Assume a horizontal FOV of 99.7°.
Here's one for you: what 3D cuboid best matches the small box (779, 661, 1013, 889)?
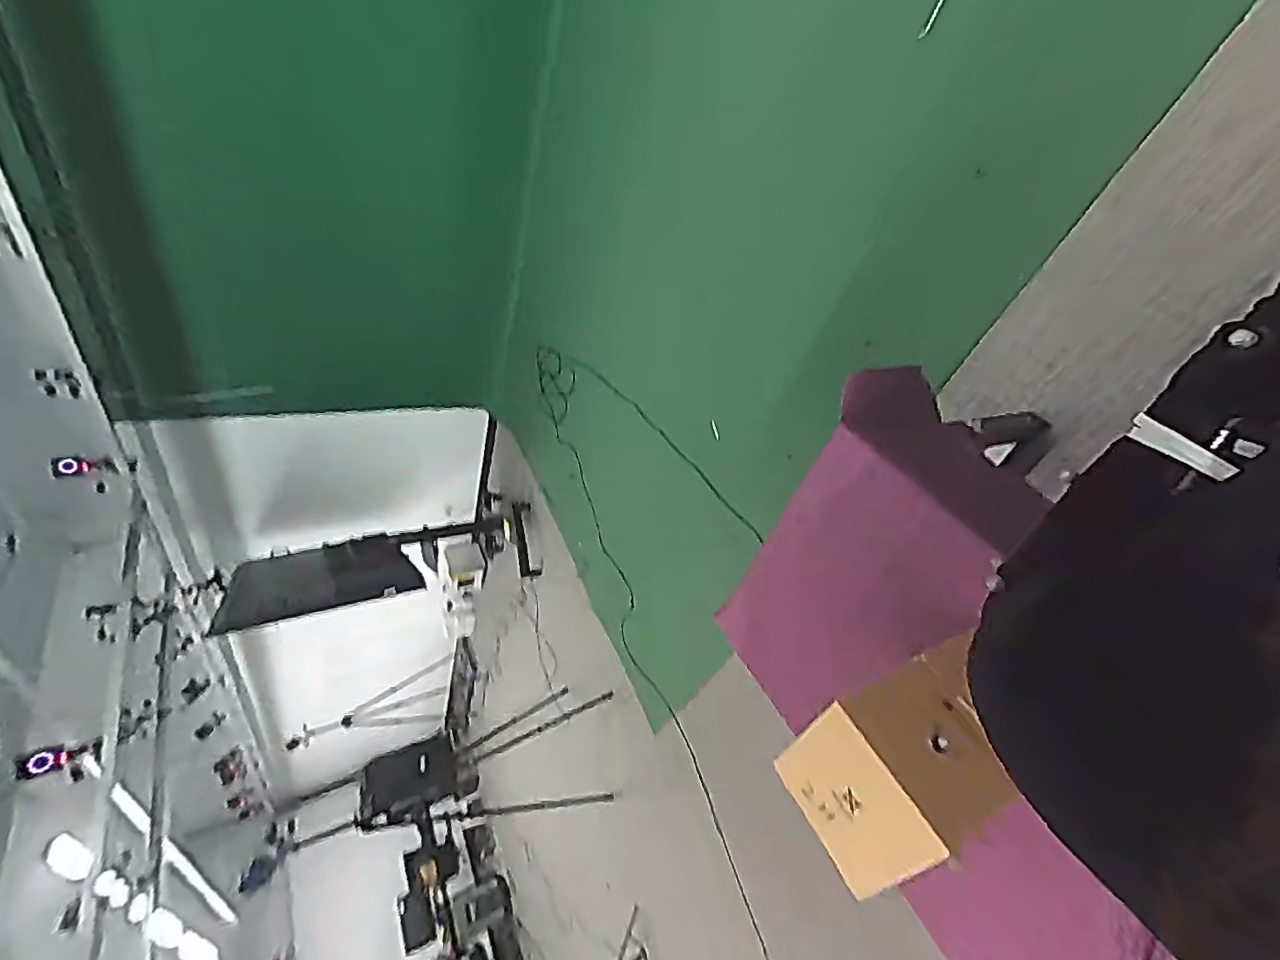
[{"bbox_3d":[0.314,0.353,0.668,0.168,0.176,0.179,55,140,36],"label":"small box"}]

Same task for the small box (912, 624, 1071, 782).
[{"bbox_3d":[0.452,0.328,0.757,0.168,0.176,0.179,55,139,36],"label":"small box"}]
